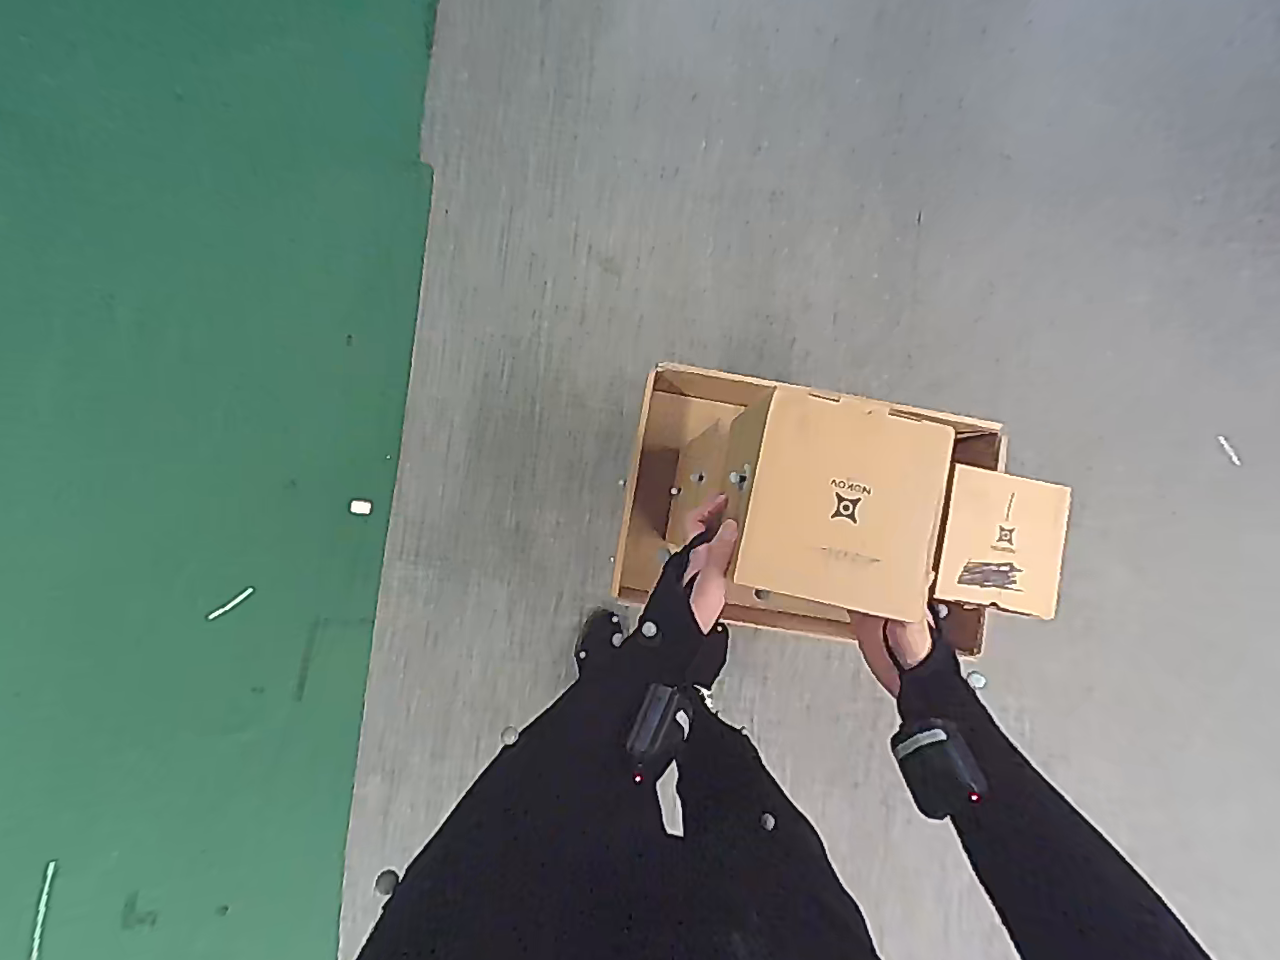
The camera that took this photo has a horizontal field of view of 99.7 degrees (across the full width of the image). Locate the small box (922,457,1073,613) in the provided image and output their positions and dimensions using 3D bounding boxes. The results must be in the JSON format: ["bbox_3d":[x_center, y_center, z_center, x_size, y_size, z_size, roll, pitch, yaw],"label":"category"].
[{"bbox_3d":[0.456,0.073,0.765,0.168,0.176,0.179,11,86,-4],"label":"small box"}]

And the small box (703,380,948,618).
[{"bbox_3d":[0.167,0.021,0.537,0.168,0.176,0.179,12,85,-1],"label":"small box"}]

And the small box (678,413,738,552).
[{"bbox_3d":[0.154,0.022,0.745,0.168,0.176,0.179,12,86,-3],"label":"small box"}]
